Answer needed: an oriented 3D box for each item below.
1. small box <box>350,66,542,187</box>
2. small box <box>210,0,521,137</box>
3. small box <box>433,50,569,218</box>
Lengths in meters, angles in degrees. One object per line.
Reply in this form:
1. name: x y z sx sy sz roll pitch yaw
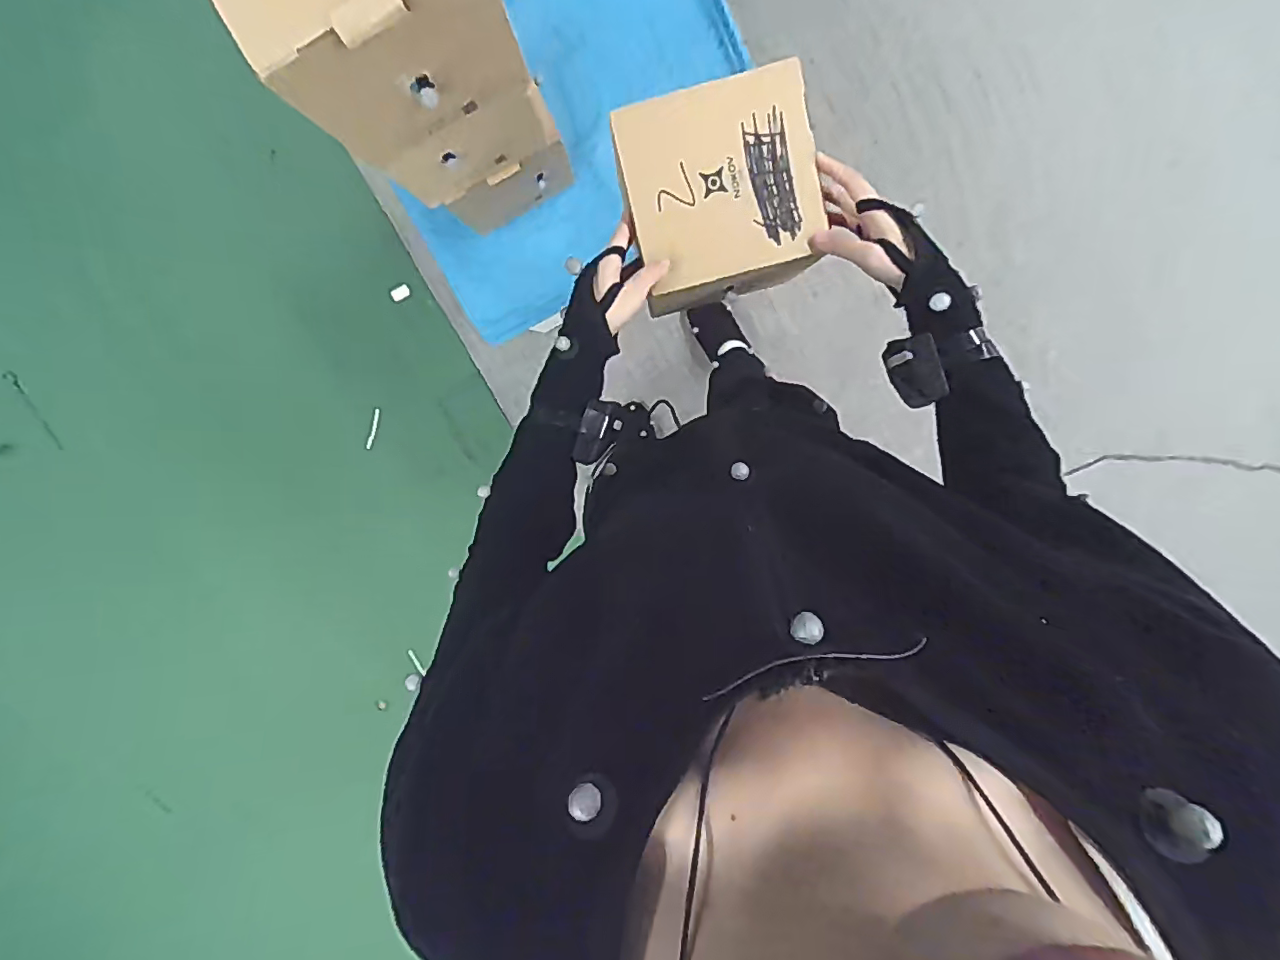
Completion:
1. small box: -0.216 -0.425 0.544 0.168 0.176 0.179 -24 100 4
2. small box: -0.205 -0.383 0.385 0.168 0.176 0.179 -25 101 4
3. small box: -0.205 -0.465 0.701 0.168 0.176 0.179 -26 101 4
